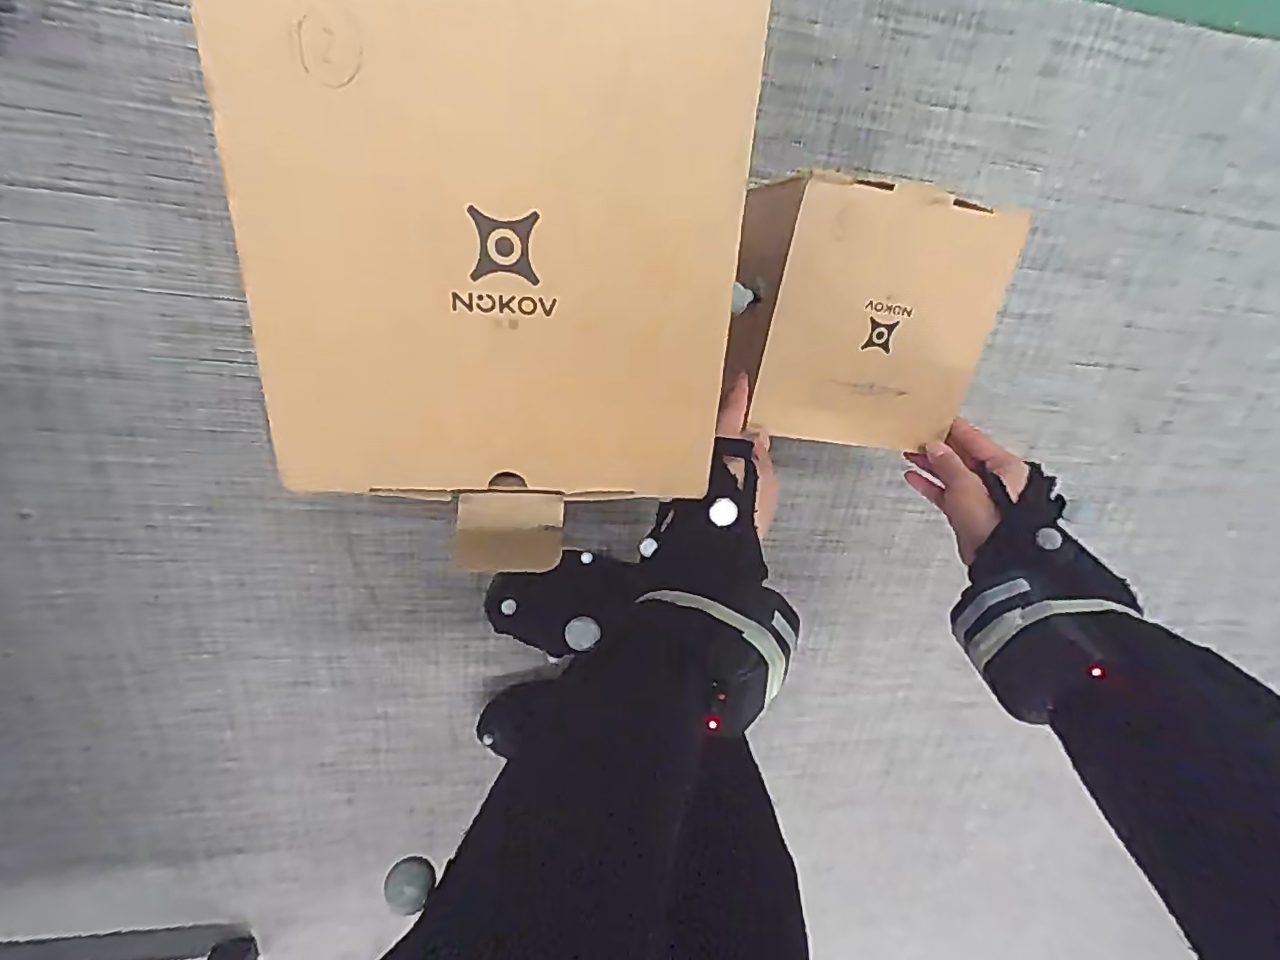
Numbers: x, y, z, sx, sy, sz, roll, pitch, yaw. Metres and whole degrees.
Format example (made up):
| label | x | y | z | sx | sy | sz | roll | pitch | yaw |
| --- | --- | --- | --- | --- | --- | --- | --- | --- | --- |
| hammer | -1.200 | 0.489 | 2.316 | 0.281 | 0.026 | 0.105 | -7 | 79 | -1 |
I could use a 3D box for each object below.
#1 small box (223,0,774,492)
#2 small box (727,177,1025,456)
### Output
| label | x | y | z | sx | sy | sz | roll | pitch | yaw |
| --- | --- | --- | --- | --- | --- | --- | --- | --- | --- |
| small box | -0.054 | -0.106 | 0.261 | 0.168 | 0.176 | 0.179 | 1 | 112 | -9 |
| small box | 0.163 | -0.136 | 0.460 | 0.168 | 0.176 | 0.179 | 6 | 112 | -9 |
